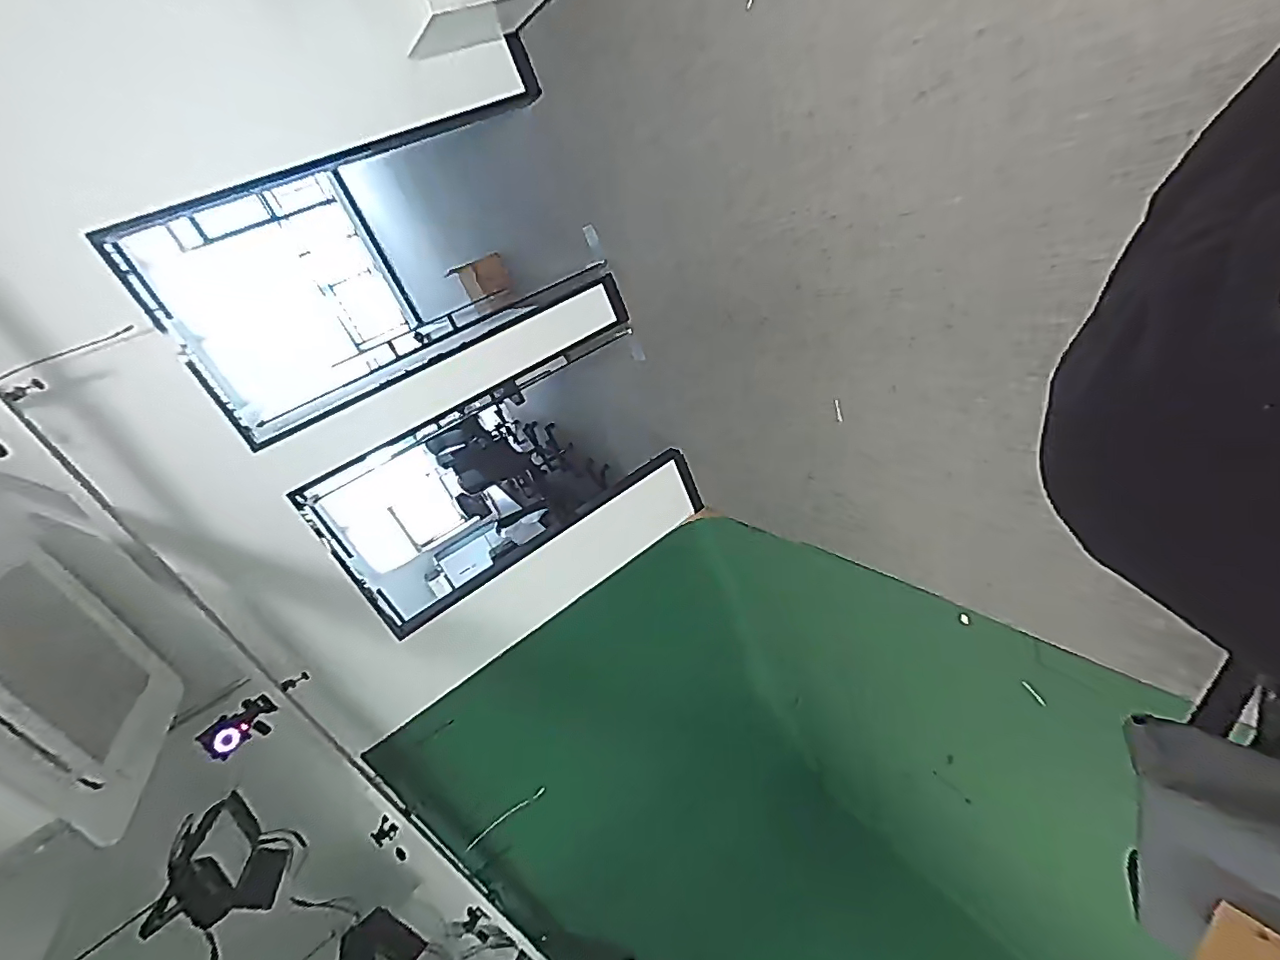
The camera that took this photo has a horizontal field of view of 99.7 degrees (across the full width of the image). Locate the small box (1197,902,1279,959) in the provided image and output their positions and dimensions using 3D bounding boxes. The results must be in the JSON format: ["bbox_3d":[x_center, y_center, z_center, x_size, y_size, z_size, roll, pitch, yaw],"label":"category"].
[{"bbox_3d":[1.154,0.940,0.997,0.168,0.176,0.179,23,143,56],"label":"small box"}]
